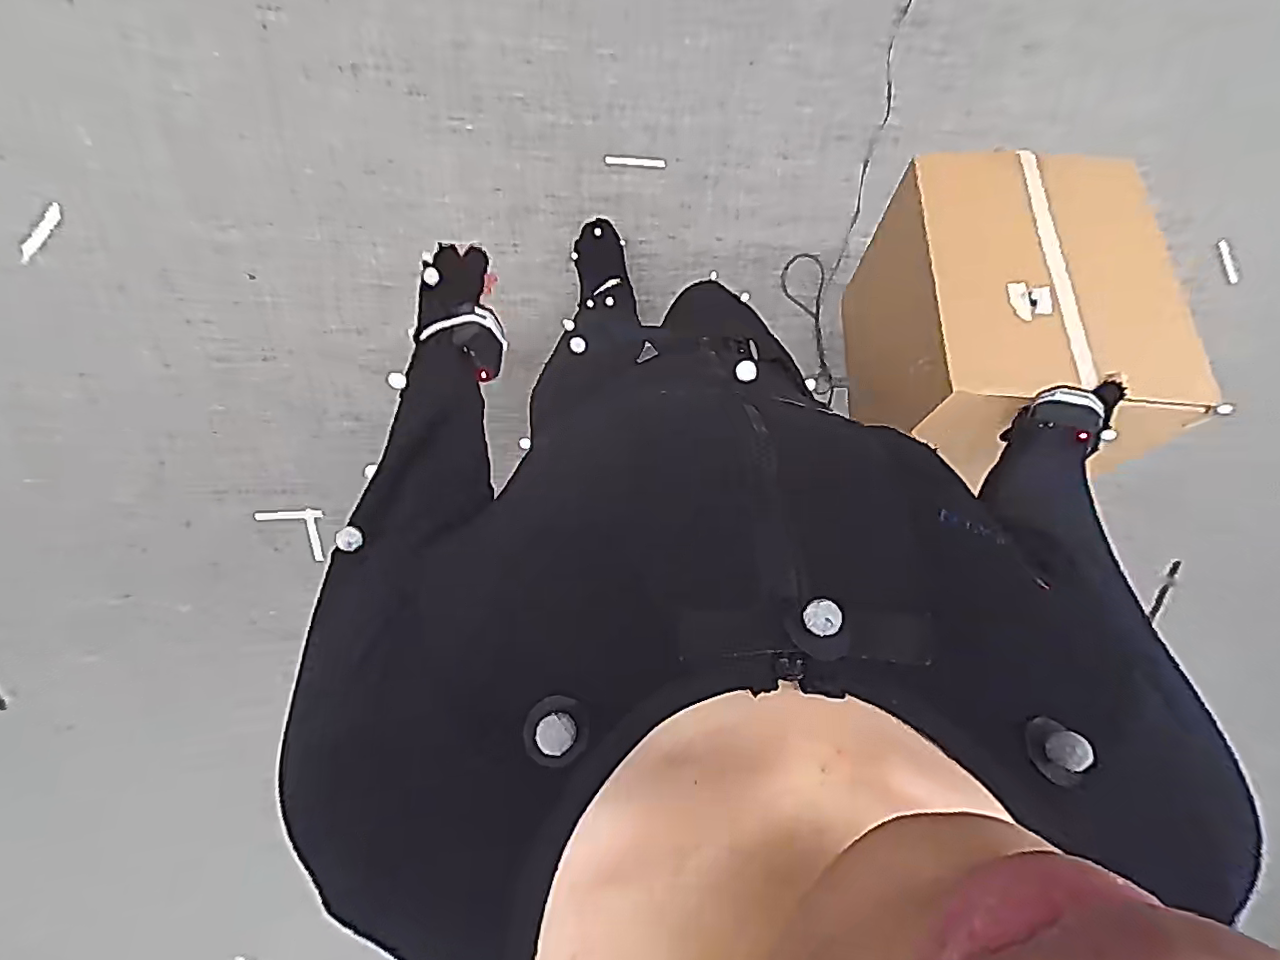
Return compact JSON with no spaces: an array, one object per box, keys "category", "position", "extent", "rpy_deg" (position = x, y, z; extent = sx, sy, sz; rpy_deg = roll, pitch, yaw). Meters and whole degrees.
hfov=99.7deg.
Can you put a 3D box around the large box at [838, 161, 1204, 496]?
[{"category":"large box","position":[0.534,-0.219,0.859],"extent":[0.320,0.320,0.408],"rpy_deg":[4,69,1]}]
